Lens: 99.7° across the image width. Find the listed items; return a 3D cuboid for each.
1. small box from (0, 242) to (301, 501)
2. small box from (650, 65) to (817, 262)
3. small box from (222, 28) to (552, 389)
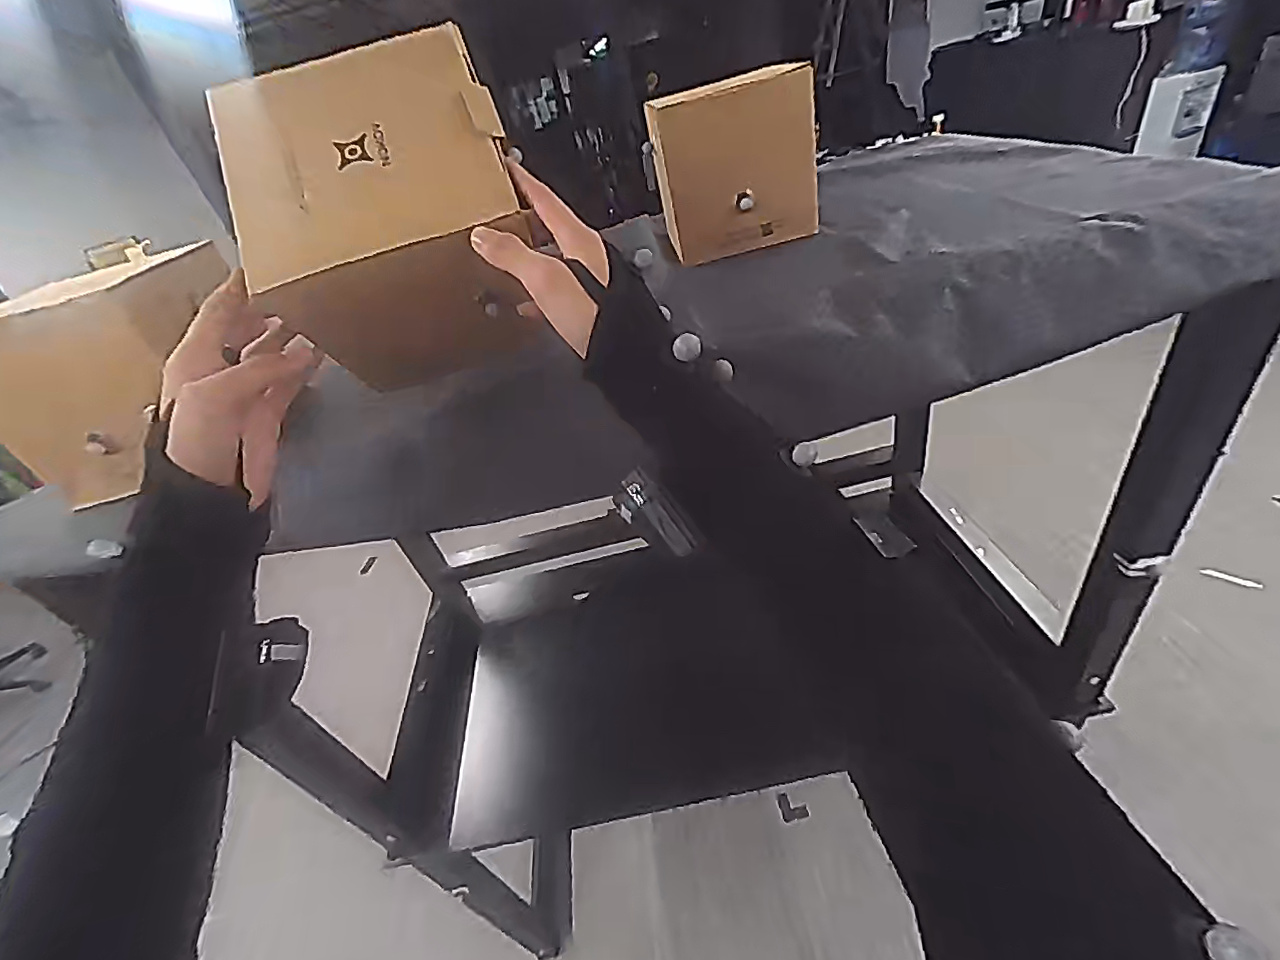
[{"bbox_3d":[-0.469,-0.107,0.521,0.168,0.176,0.179,-16,36,-1],"label":"small box"},{"bbox_3d":[0.113,-0.389,0.672,0.168,0.176,0.179,-13,36,5],"label":"small box"},{"bbox_3d":[-0.178,-0.198,0.434,0.179,0.176,0.168,-19,76,-3],"label":"small box"}]
